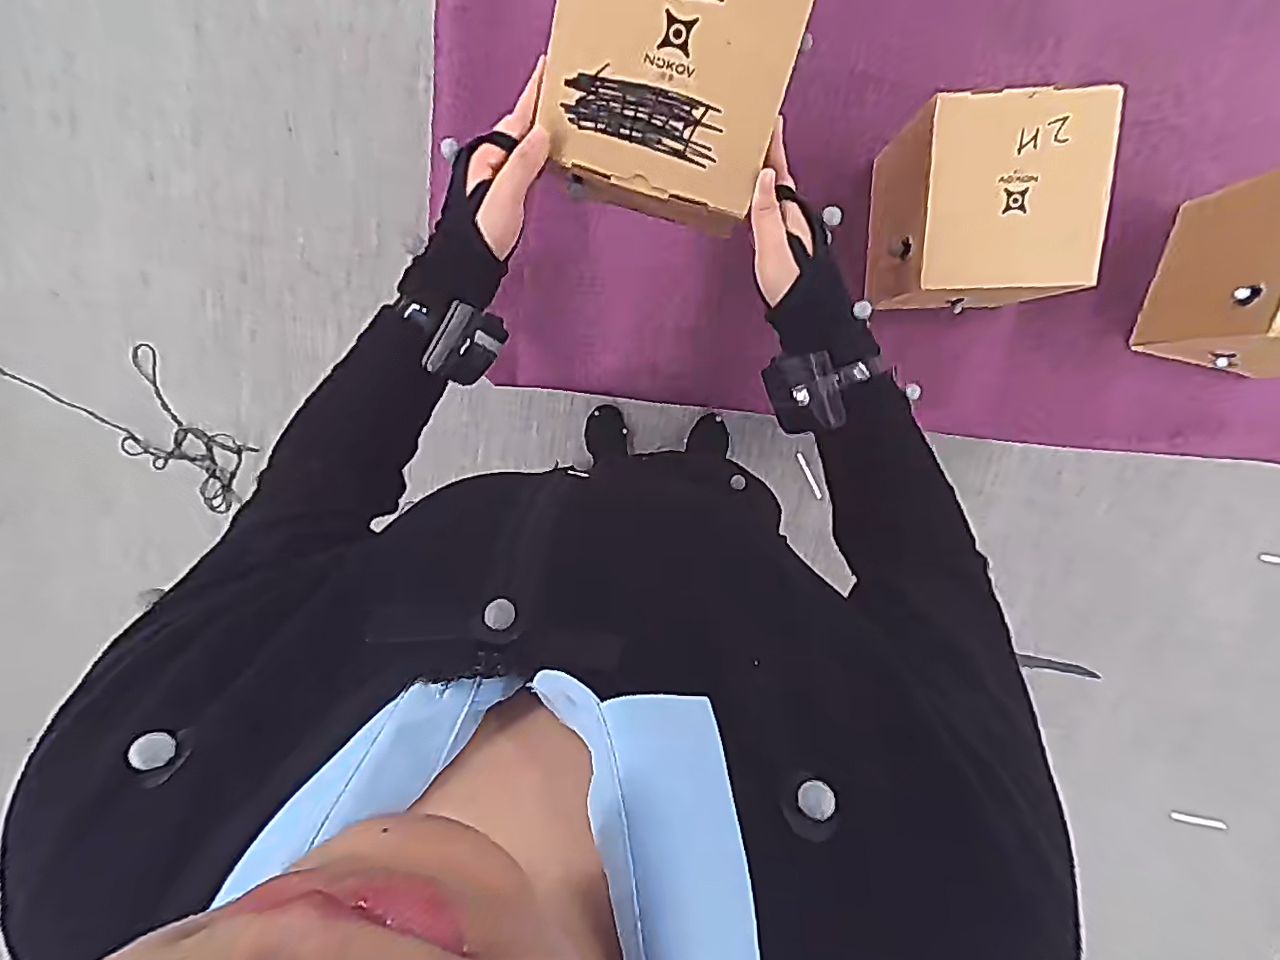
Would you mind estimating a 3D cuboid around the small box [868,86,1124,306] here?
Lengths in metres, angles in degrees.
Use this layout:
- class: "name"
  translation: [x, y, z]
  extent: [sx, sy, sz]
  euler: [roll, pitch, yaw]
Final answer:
- class: "small box"
  translation: [0.360, -0.286, 0.586]
  extent: [0.168, 0.176, 0.179]
  euler: [0, 100, 4]

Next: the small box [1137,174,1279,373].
- class: "small box"
  translation: [0.699, -0.219, 0.576]
  extent: [0.168, 0.176, 0.179]
  euler: [13, 101, 2]
